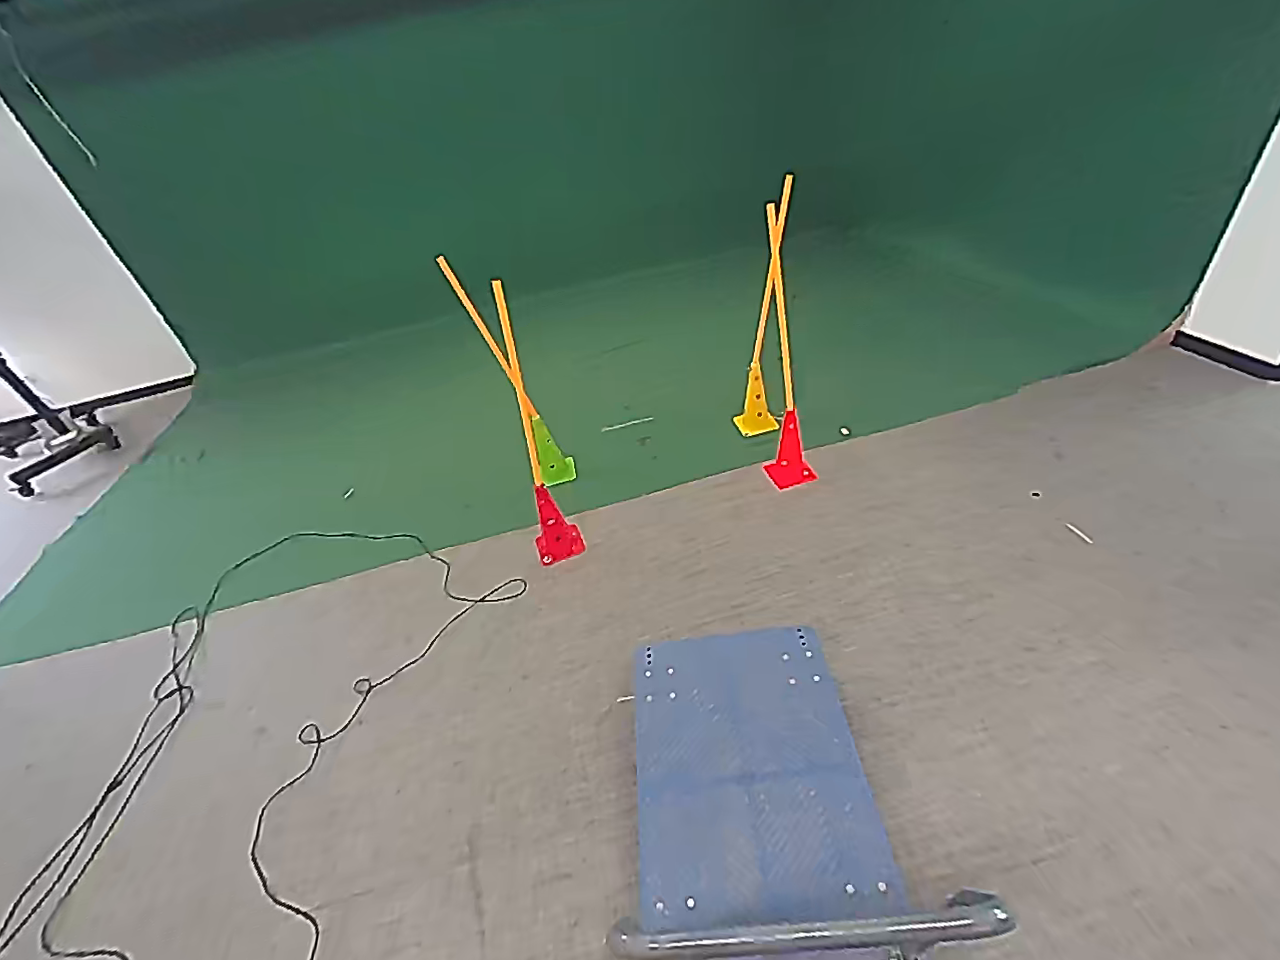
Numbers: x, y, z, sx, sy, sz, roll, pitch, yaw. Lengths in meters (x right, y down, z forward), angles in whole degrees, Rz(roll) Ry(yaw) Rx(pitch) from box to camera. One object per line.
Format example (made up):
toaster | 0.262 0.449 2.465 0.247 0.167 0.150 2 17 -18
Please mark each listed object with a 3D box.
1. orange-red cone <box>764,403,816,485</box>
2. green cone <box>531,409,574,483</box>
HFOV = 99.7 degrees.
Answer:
orange-red cone | 0.673 -0.183 2.430 0.198 0.360 0.199 -14 37 -4
green cone | -0.477 -0.194 2.735 0.200 0.368 0.202 -15 38 -3
